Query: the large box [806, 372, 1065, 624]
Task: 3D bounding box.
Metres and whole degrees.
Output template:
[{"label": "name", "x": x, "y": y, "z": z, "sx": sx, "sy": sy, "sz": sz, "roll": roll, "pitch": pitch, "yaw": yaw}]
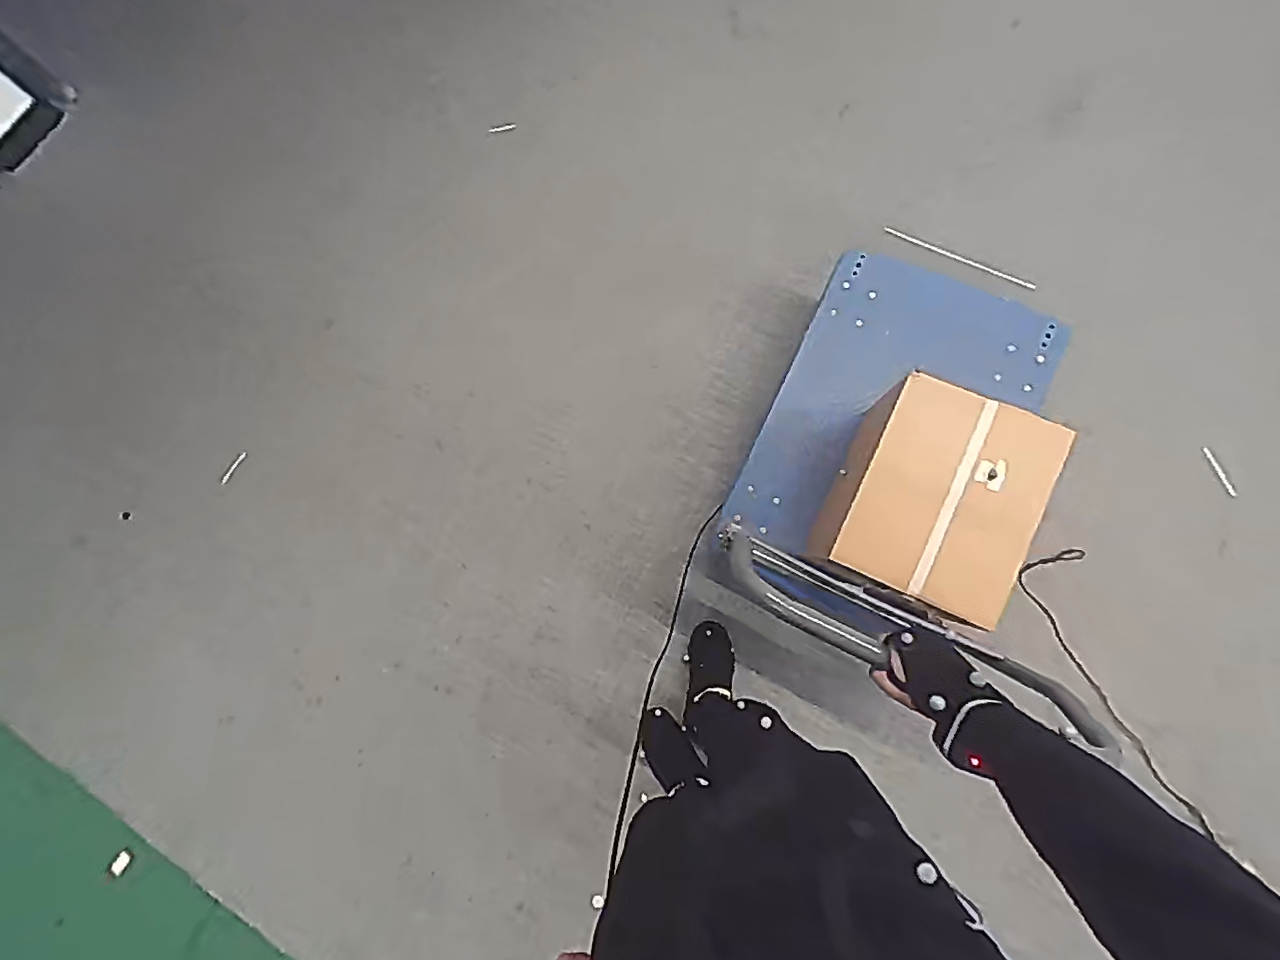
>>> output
[{"label": "large box", "x": 0.598, "y": 0.047, "z": 1.165, "sx": 0.320, "sy": 0.320, "sz": 0.408, "roll": 24, "pitch": 86, "yaw": 9}]
